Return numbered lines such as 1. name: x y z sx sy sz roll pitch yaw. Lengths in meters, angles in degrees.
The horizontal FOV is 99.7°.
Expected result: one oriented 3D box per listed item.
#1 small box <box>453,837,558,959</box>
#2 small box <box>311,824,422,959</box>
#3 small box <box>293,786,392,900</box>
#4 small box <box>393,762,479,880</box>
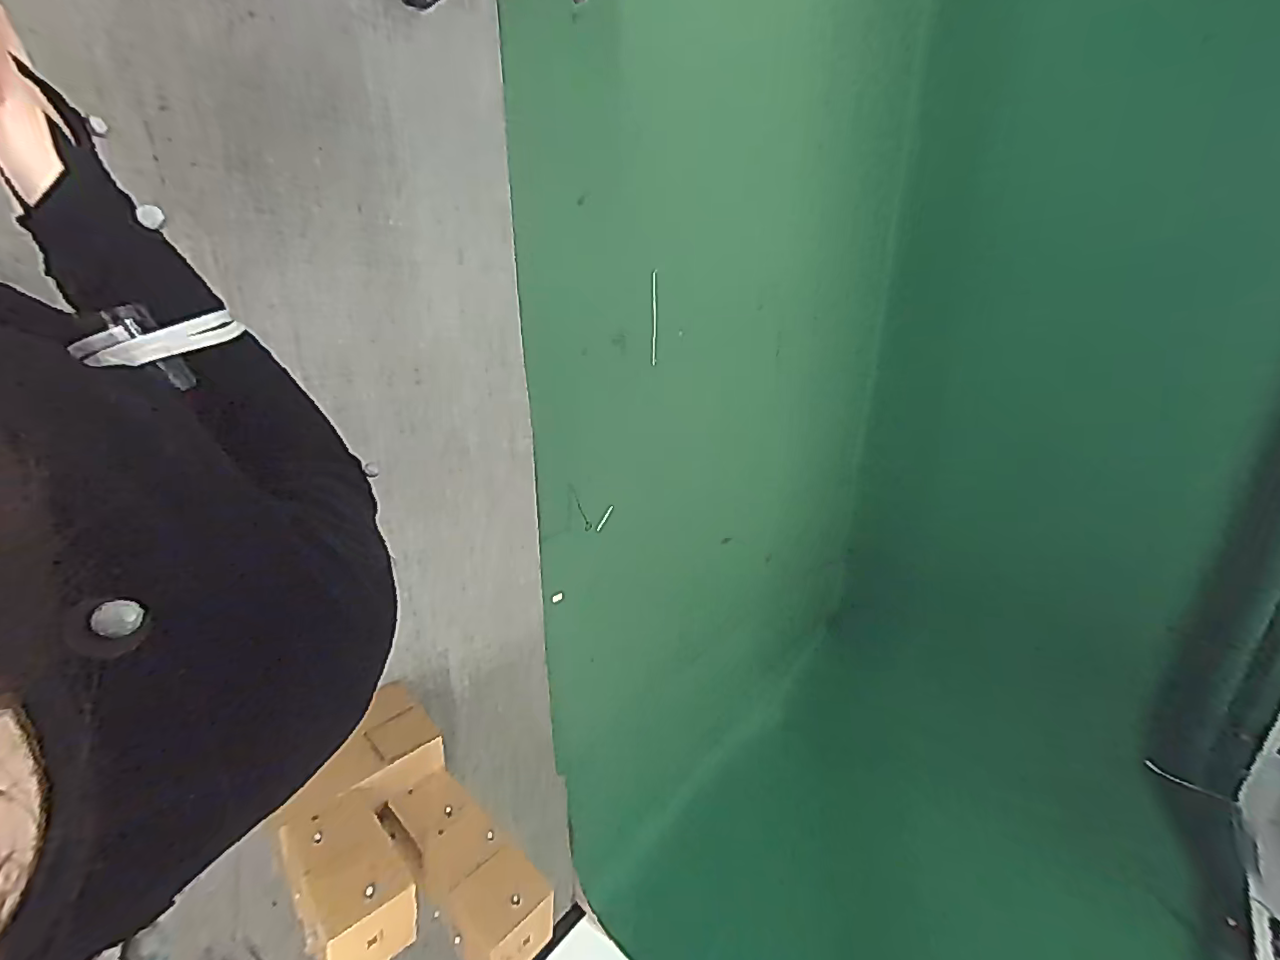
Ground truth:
1. small box: -0.315 0.997 1.268 0.179 0.176 0.168 -16 118 -46
2. small box: -0.594 0.905 1.171 0.179 0.176 0.168 -12 114 -45
3. small box: -0.705 0.868 1.285 0.168 0.176 0.179 -12 115 -45
4. small box: -0.558 0.921 1.478 0.168 0.176 0.179 -14 117 -47
